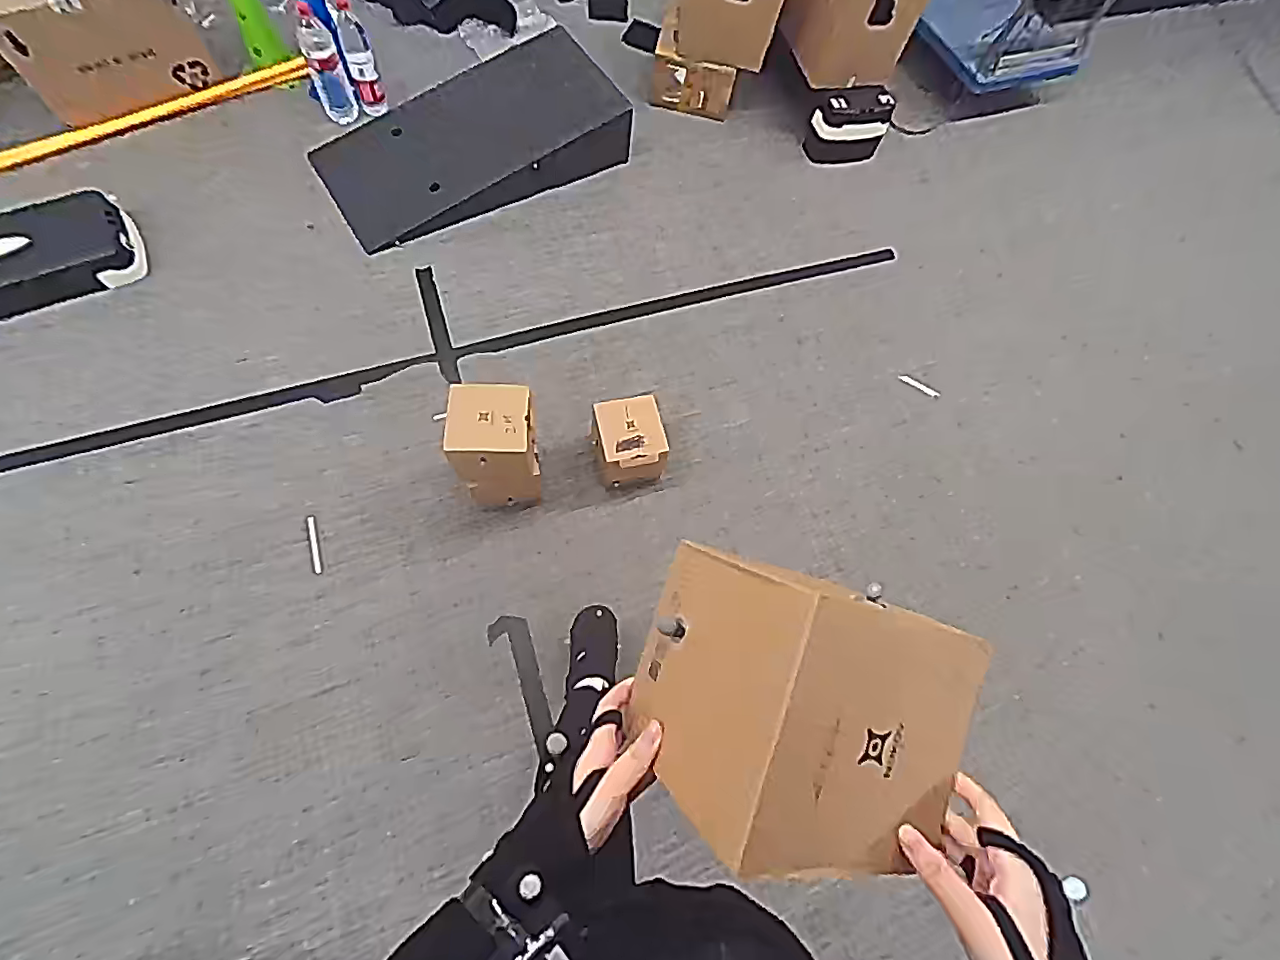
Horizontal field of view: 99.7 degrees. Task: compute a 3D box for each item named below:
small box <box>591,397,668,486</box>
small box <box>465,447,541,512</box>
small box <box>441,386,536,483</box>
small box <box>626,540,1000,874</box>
[{"bbox_3d":[-0.034,-0.095,1.446,0.168,0.176,0.179,-10,68,-12],"label":"small box"},{"bbox_3d":[-0.352,-0.031,1.377,0.179,0.176,0.168,-11,69,-12],"label":"small box"},{"bbox_3d":[-0.335,-0.097,1.226,0.179,0.176,0.168,1,68,-7],"label":"small box"},{"bbox_3d":[0.117,0.153,0.406,0.179,0.176,0.168,20,86,-25],"label":"small box"}]
